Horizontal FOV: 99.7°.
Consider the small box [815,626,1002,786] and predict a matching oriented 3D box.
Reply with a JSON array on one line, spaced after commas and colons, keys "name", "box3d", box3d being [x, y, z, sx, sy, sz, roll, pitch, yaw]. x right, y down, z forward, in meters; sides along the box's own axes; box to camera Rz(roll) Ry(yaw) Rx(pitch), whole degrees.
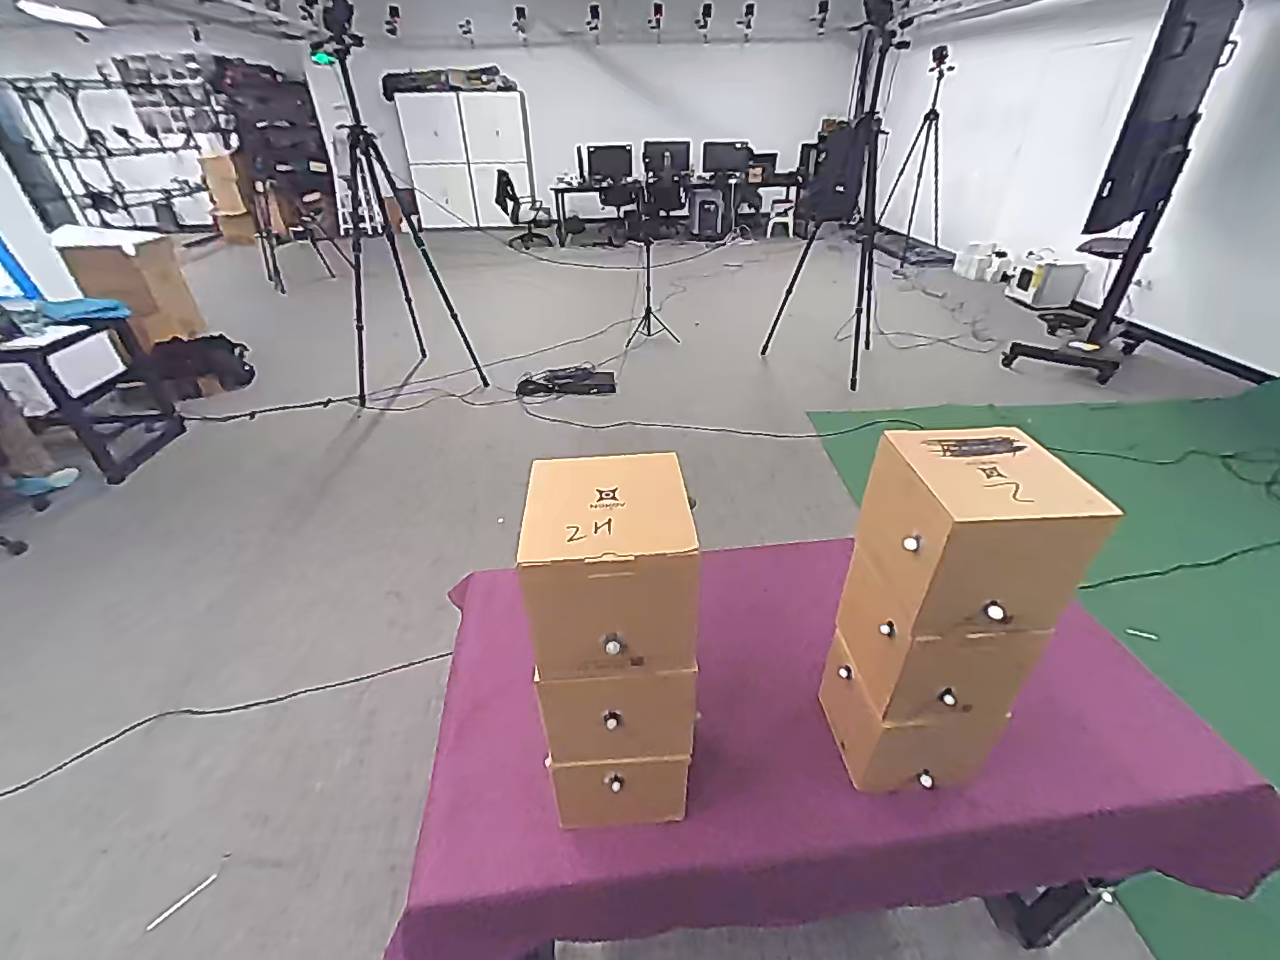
[{"name": "small box", "box3d": [0.384, 0.332, 0.812, 0.179, 0.176, 0.168, -3, 33, -3]}]

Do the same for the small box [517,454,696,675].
[{"name": "small box", "box3d": [-0.035, 0.089, 0.600, 0.168, 0.176, 0.179, -4, 35, -3]}]

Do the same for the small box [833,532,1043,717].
[{"name": "small box", "box3d": [0.379, 0.191, 0.730, 0.168, 0.176, 0.179, -3, 35, -2]}]

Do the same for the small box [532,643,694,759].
[{"name": "small box", "box3d": [-0.031, 0.229, 0.687, 0.179, 0.176, 0.168, -4, 35, -2]}]

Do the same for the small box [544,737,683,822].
[{"name": "small box", "box3d": [-0.034, 0.366, 0.776, 0.179, 0.176, 0.168, -2, 35, -2]}]
